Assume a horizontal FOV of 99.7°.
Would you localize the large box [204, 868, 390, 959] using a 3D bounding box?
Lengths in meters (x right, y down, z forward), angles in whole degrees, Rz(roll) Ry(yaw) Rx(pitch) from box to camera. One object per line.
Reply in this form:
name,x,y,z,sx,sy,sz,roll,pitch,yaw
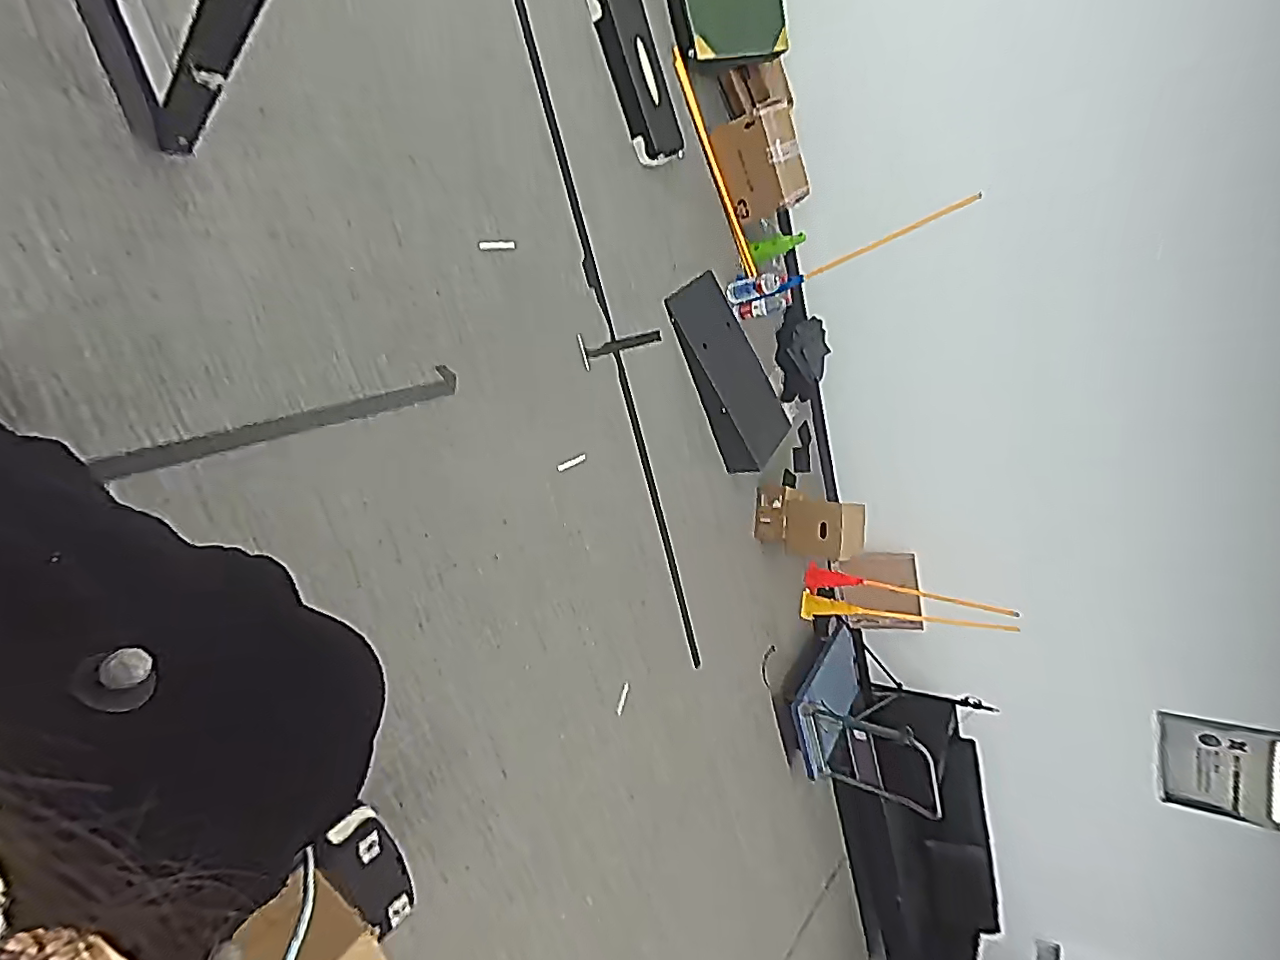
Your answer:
large box,-0.678,1.046,0.980,0.408,0.320,0.320,-35,114,-47
